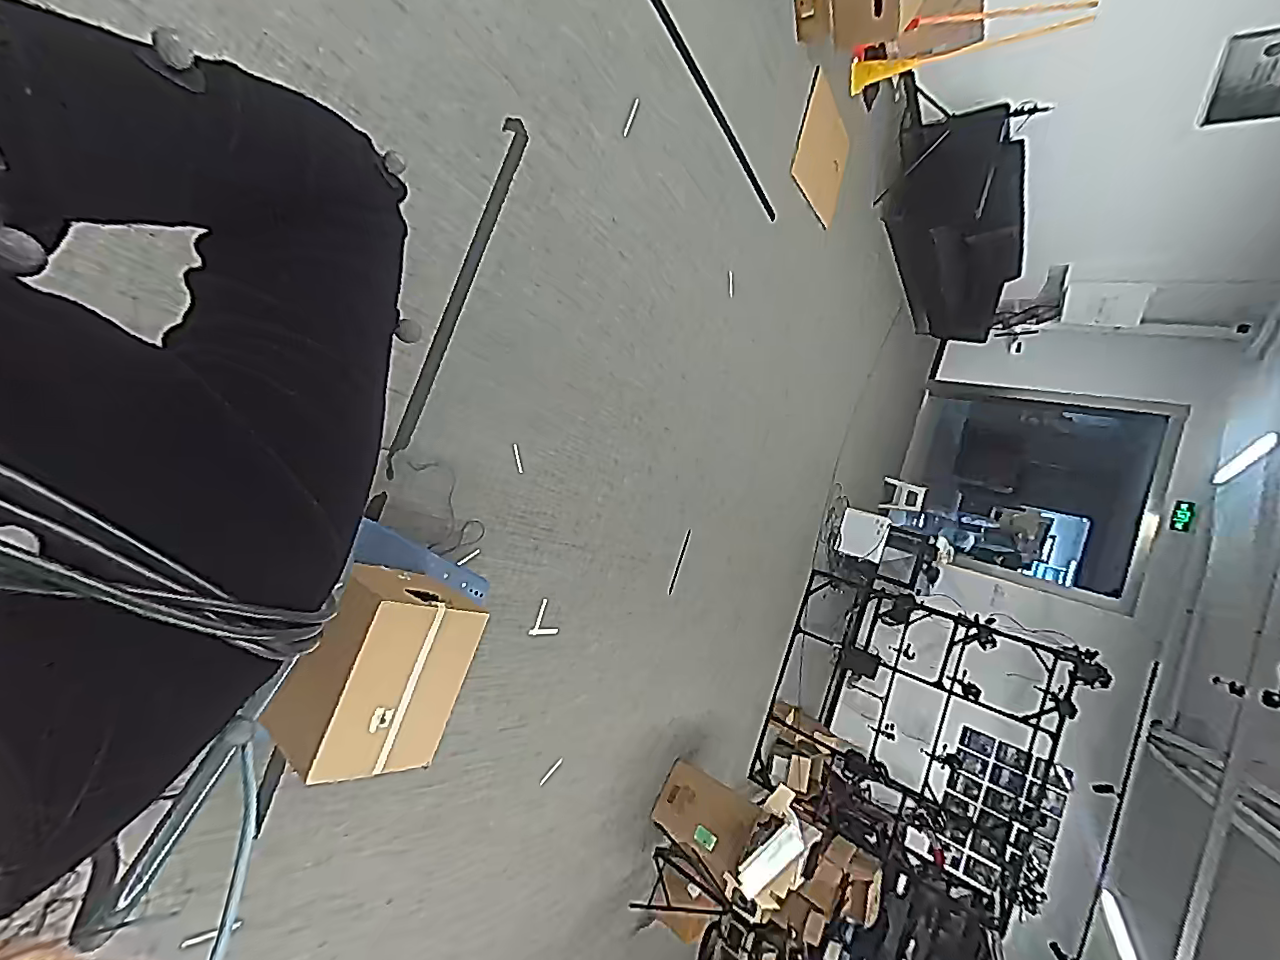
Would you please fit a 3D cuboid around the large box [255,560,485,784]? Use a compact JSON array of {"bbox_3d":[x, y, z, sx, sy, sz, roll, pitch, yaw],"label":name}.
[{"bbox_3d":[-0.657,0.448,1.333,0.320,0.320,0.408,29,80,-52],"label":"large box"}]
